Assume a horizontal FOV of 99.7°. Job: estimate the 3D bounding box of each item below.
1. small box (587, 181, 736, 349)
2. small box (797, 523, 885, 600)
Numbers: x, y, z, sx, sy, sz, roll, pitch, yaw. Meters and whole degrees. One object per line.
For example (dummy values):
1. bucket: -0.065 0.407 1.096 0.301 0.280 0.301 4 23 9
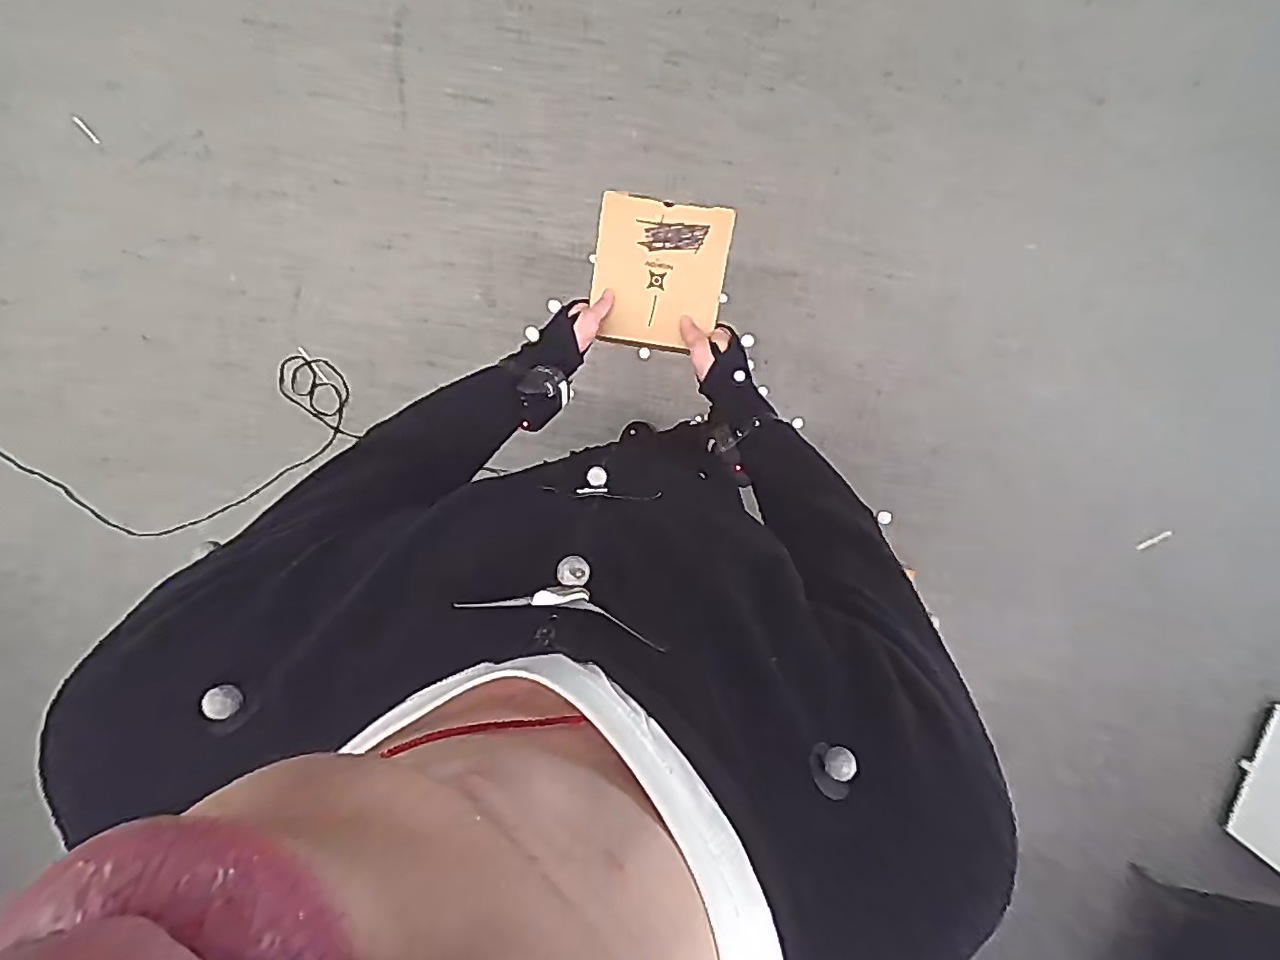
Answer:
1. small box: 0.027 -0.285 0.755 0.168 0.176 0.179 9 102 0
2. small box: 0.540 0.233 1.477 0.168 0.176 0.179 12 99 2
